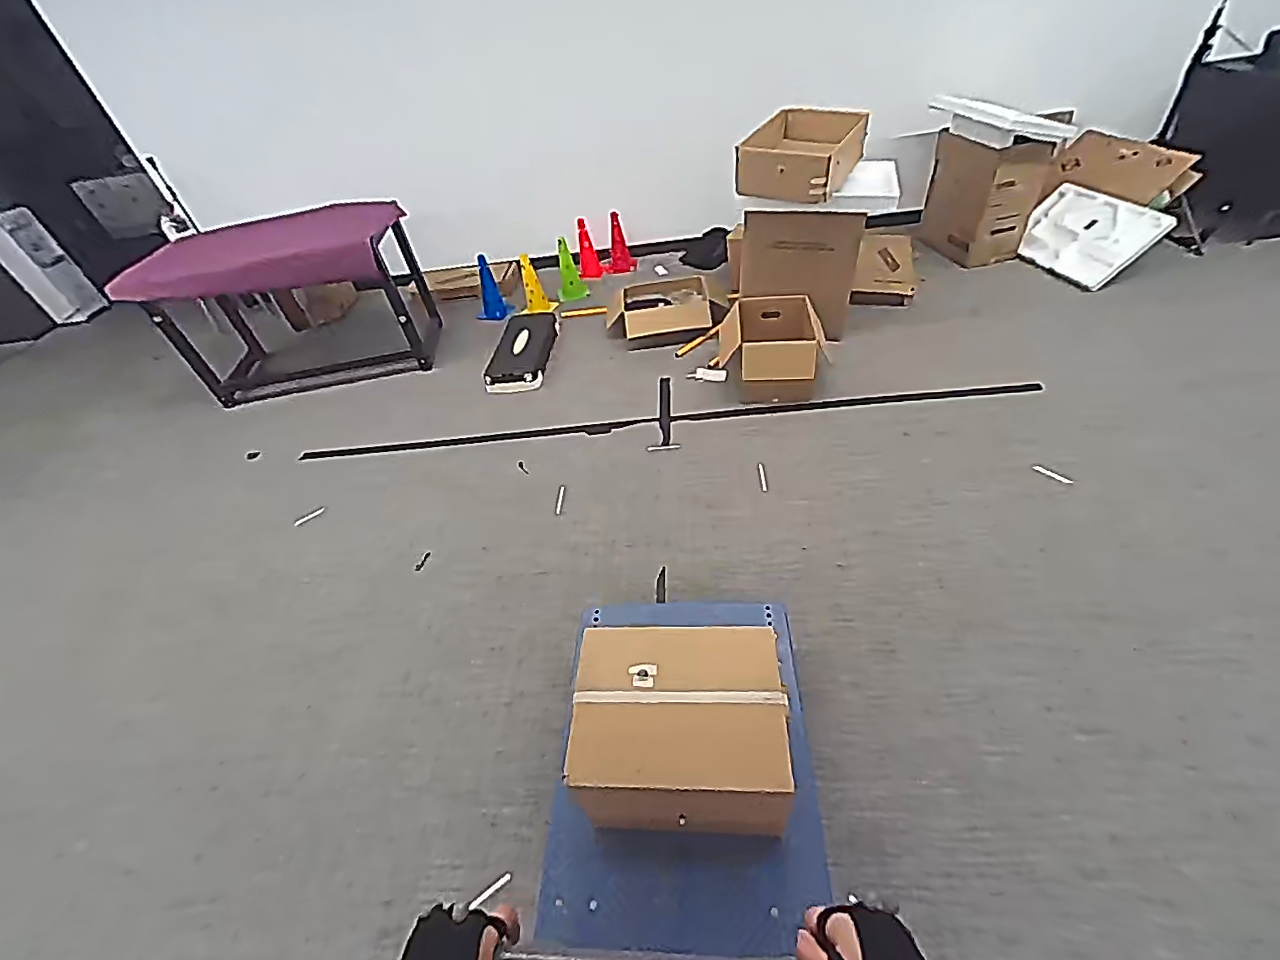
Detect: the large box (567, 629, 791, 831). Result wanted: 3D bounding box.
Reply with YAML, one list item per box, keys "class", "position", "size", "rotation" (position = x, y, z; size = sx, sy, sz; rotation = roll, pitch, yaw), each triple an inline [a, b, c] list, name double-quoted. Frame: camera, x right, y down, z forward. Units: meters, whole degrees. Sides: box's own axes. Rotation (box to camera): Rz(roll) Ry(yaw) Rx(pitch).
- class: "large box"
  position: [0.091, 0.542, 1.160]
  size: [0.408, 0.320, 0.320]
  rotation: [-4, 44, 8]
